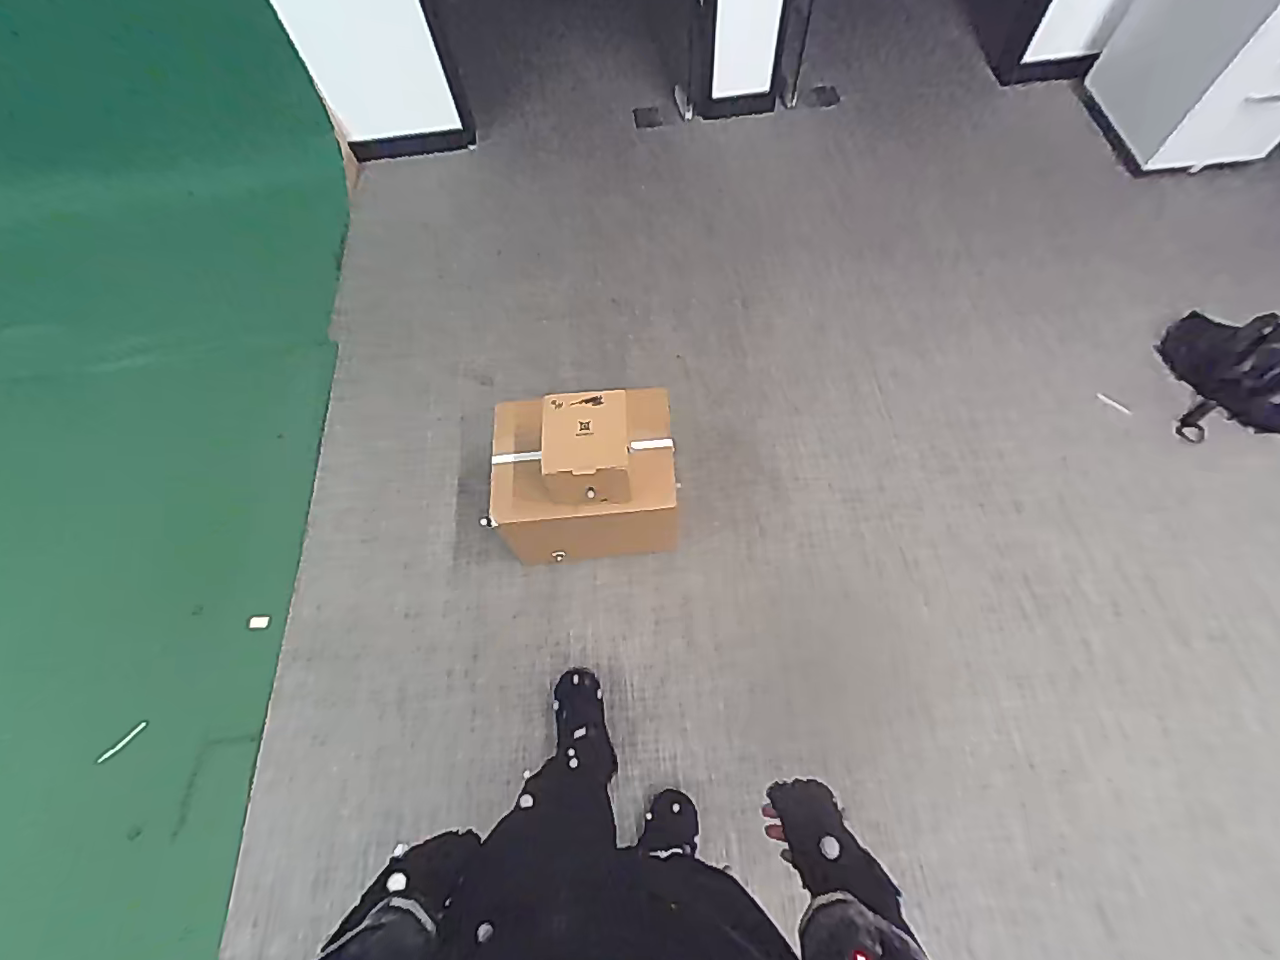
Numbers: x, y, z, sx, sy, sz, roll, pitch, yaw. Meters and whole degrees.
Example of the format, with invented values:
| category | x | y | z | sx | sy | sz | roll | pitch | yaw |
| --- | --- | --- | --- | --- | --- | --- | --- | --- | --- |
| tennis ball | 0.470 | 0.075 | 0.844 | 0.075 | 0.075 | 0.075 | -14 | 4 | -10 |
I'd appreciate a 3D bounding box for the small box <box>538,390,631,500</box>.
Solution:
| category | x | y | z | sx | sy | sz | roll | pitch | yaw |
| --- | --- | --- | --- | --- | --- | --- | --- | --- | --- |
| small box | -0.108 | -0.064 | 1.113 | 0.168 | 0.176 | 0.179 | -3 | 67 | 2 |
